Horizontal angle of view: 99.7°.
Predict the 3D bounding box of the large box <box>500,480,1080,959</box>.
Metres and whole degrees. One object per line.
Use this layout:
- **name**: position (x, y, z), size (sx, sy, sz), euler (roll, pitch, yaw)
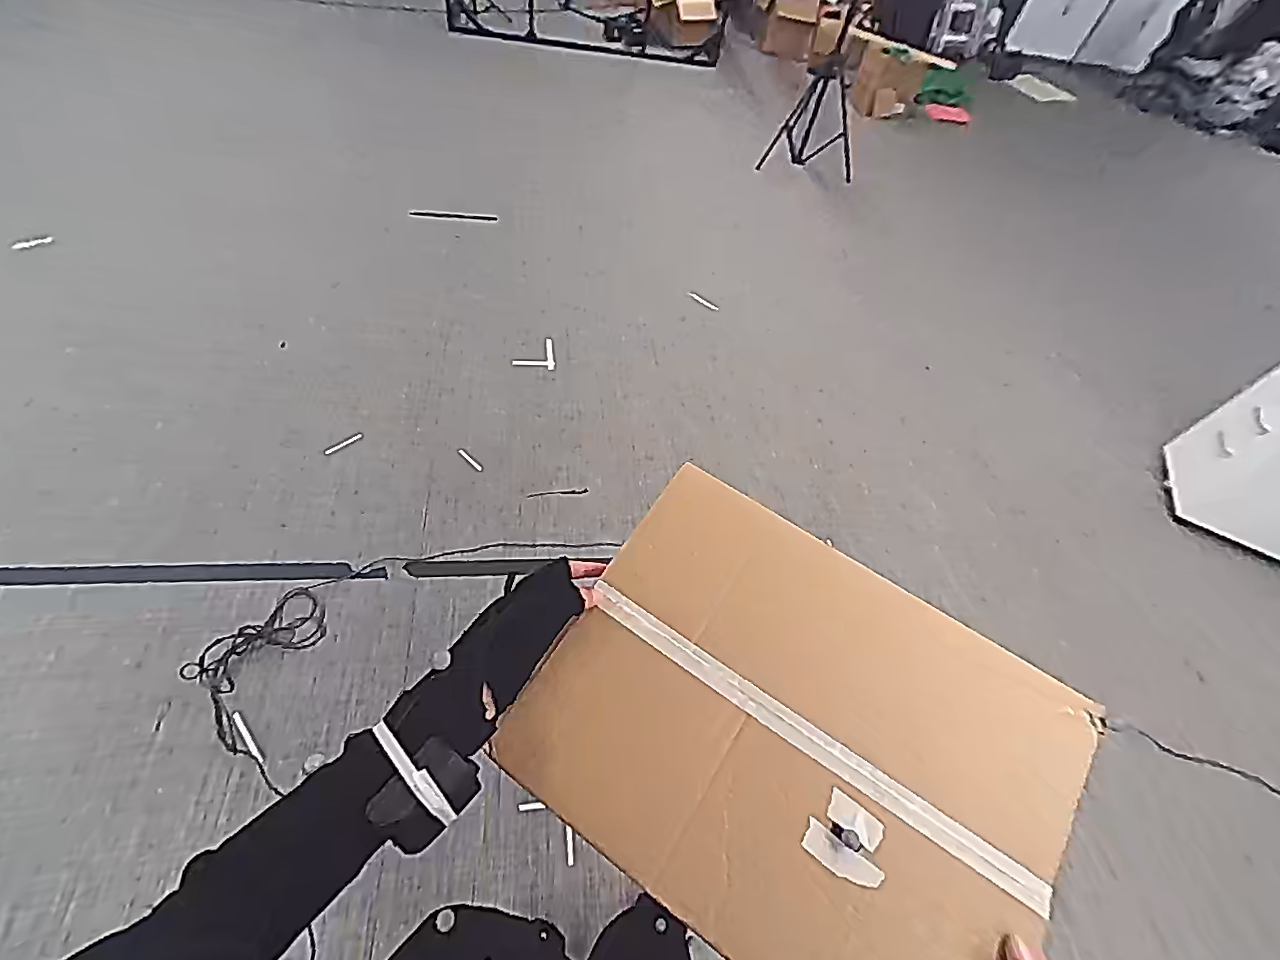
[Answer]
- **large box**: position (0.127, 0.271, 0.587), size (0.408, 0.320, 0.320), euler (32, 69, 14)
